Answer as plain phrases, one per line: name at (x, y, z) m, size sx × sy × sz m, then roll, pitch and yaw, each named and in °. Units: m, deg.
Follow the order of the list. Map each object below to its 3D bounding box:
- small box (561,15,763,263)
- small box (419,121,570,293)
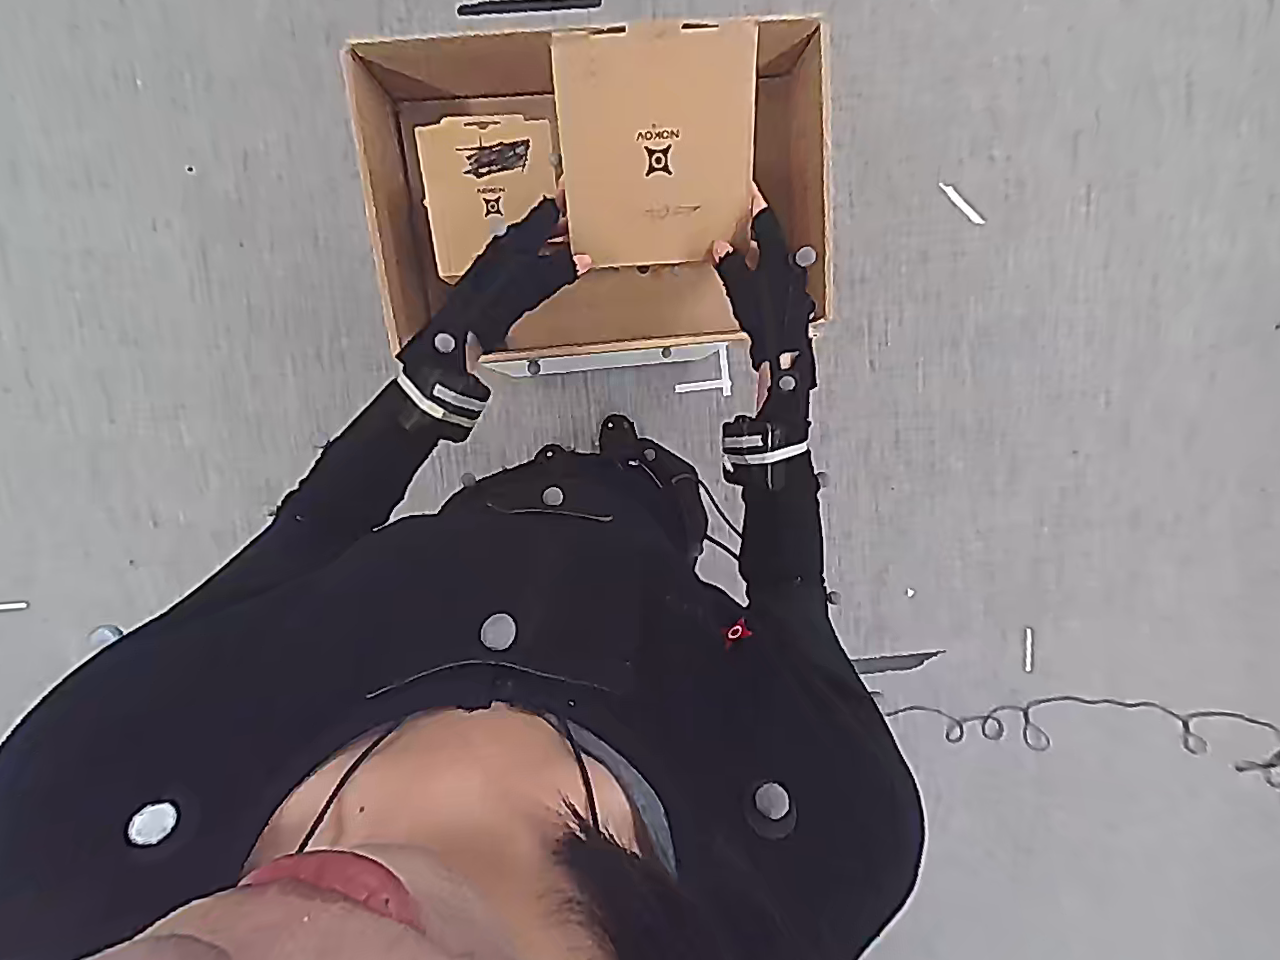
small box at (0.018, -0.316, 0.532) m, size 0.168 × 0.176 × 0.179 m, roll -4°, pitch 116°, yaw 0°
small box at (-0.190, -0.368, 0.758) m, size 0.168 × 0.176 × 0.179 m, roll -6°, pitch 103°, yaw -4°
